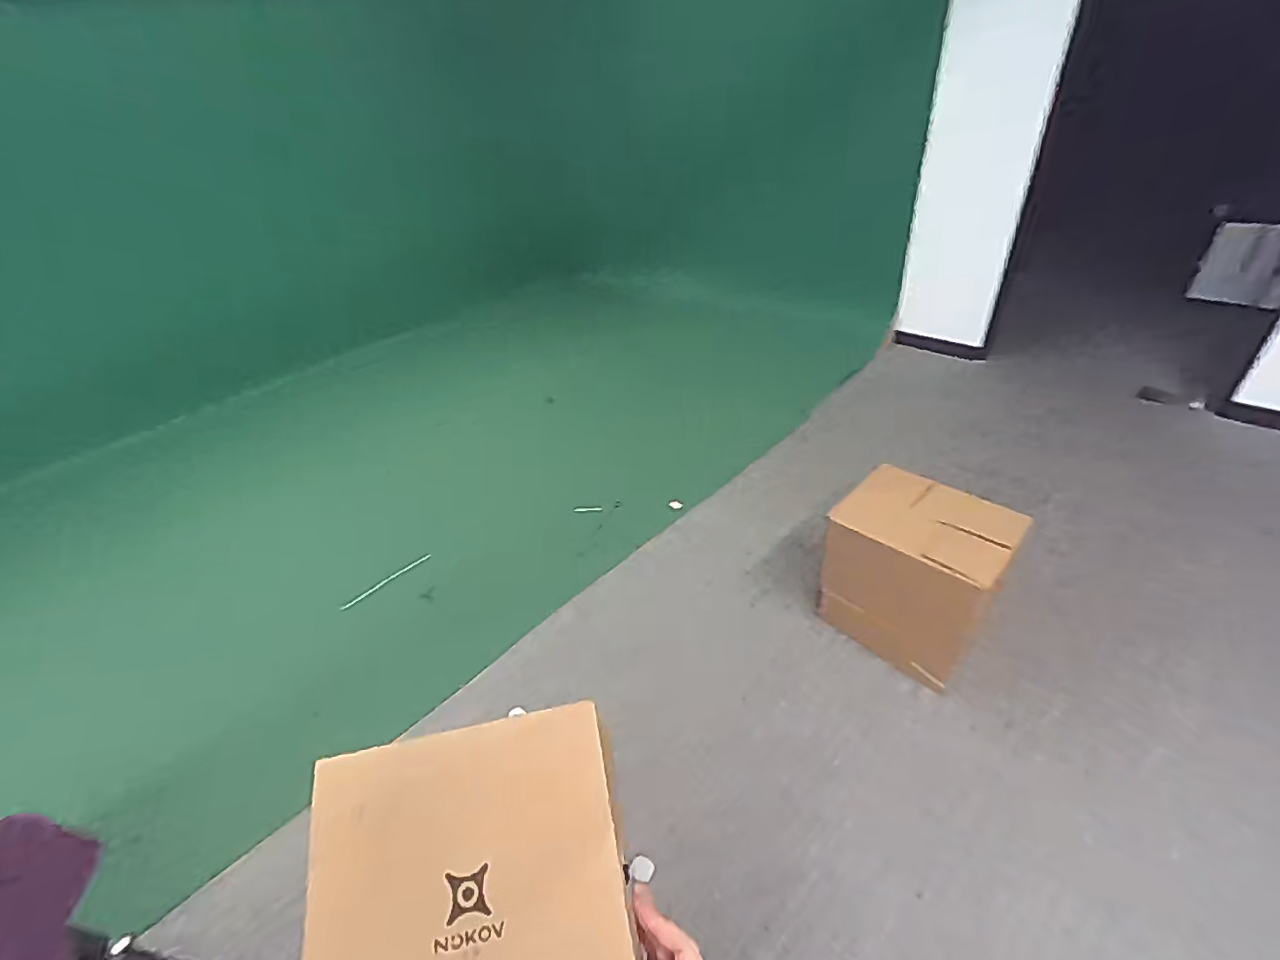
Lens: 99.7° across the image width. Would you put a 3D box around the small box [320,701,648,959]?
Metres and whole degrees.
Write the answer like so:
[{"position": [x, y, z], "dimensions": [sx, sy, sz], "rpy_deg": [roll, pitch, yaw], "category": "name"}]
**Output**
[{"position": [-0.087, 0.263, 0.358], "dimensions": [0.168, 0.176, 0.179], "rpy_deg": [-10, 63, -6], "category": "small box"}]
